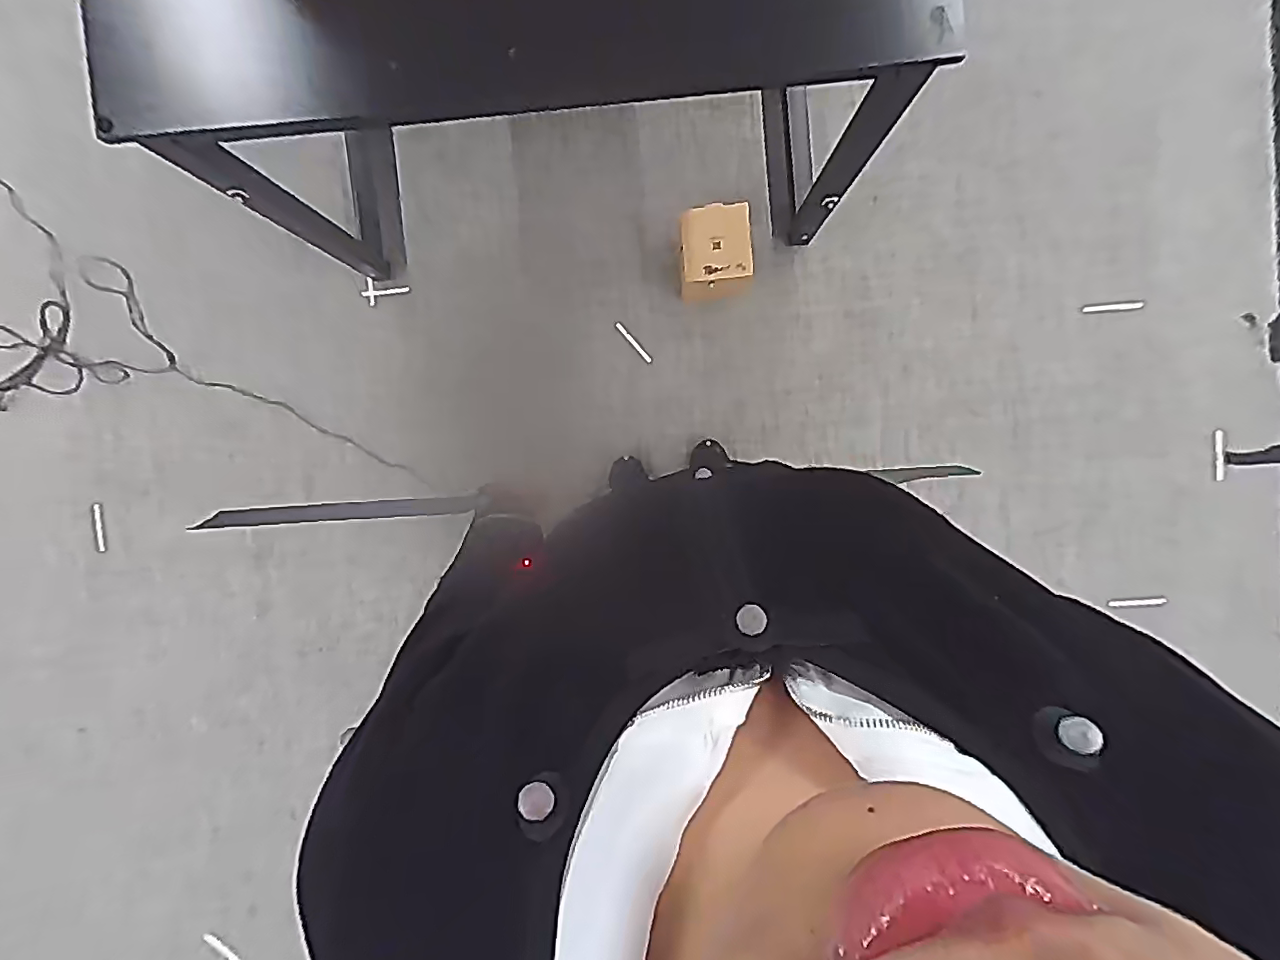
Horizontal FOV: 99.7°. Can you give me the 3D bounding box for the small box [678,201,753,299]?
[{"bbox_3d":[0.187,-0.578,1.376,0.168,0.176,0.179,-5,93,3],"label":"small box"}]
